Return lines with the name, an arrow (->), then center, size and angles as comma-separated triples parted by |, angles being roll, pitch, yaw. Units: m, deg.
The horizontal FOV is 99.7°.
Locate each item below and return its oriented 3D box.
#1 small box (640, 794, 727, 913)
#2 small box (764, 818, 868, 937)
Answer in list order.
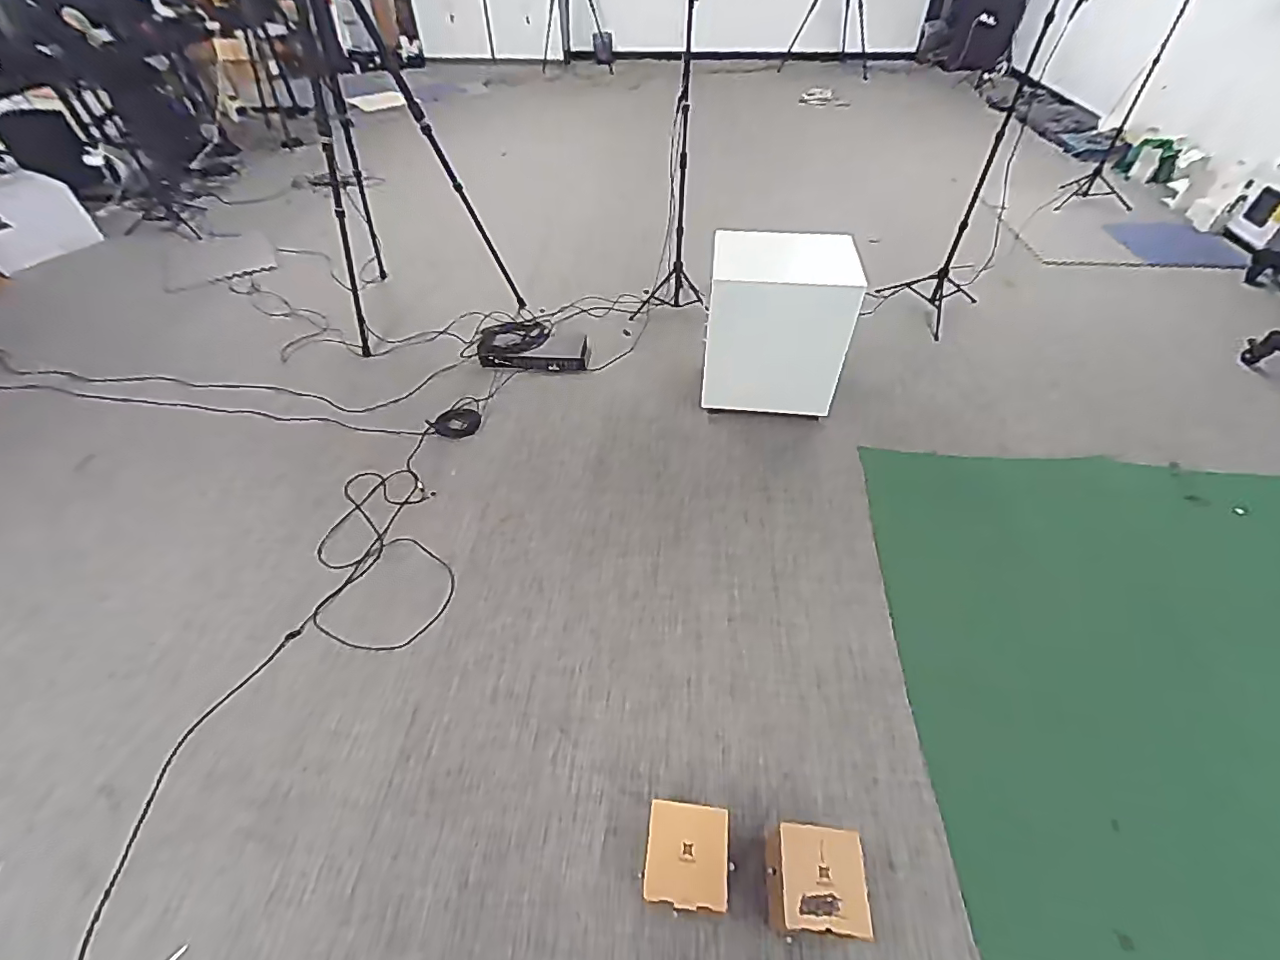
small box -> 0.091, 0.802, 1.159 | 0.168, 0.176, 0.179 | 5, 48, 4
small box -> 0.357, 0.834, 1.131 | 0.168, 0.176, 0.179 | 5, 47, 4
